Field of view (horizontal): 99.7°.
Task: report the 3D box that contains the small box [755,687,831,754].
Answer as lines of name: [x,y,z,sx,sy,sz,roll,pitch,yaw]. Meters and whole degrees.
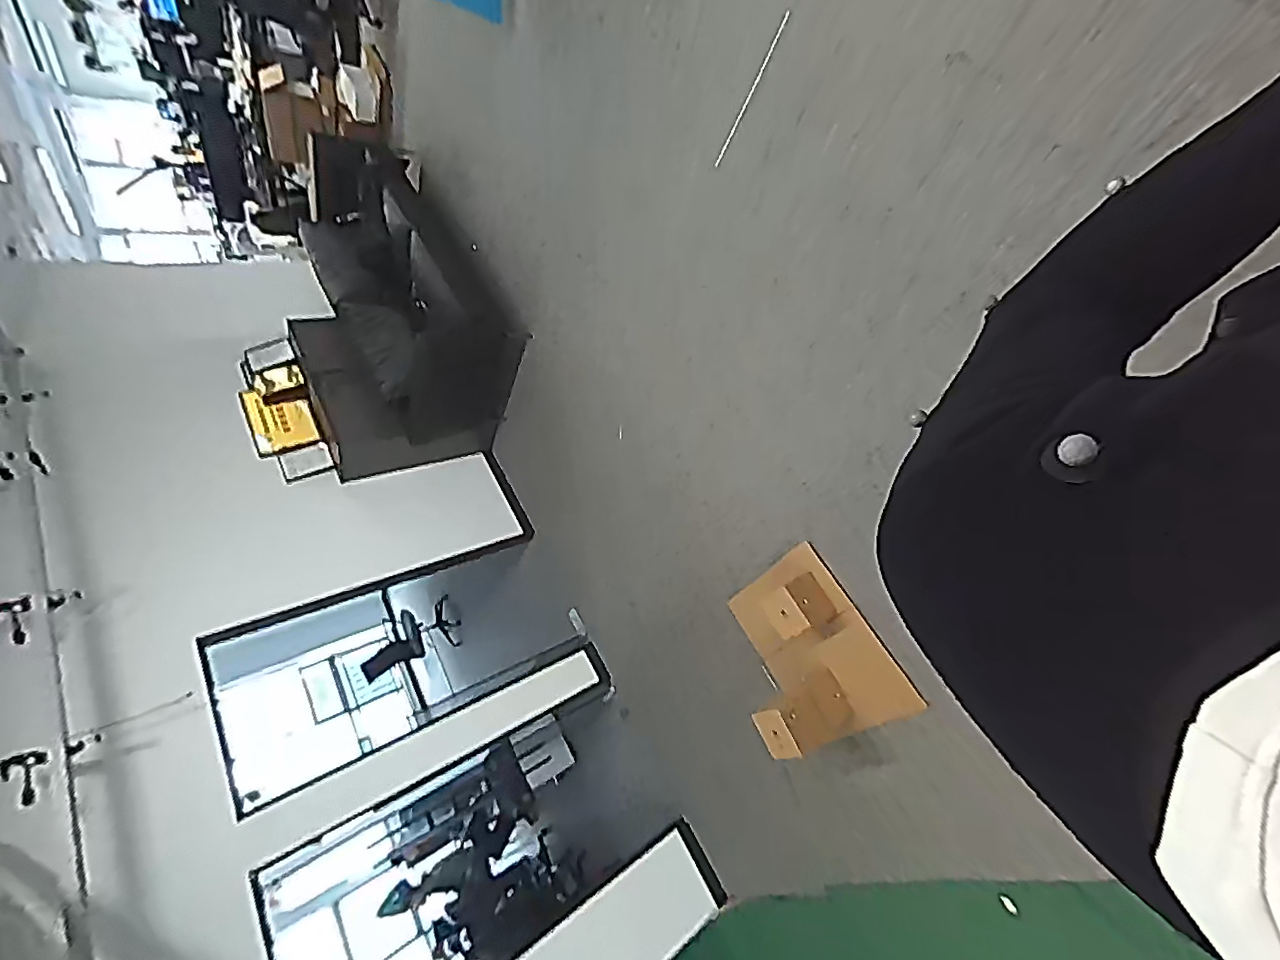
small box: [0.570,0.890,2.015,0.179,0.176,0.168,62,143,14]

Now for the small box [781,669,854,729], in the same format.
small box: [0.697,0.856,2.116,0.168,0.176,0.179,-45,68,51]

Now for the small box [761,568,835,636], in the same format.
small box: [0.610,0.463,2.073,0.179,0.176,0.168,58,141,19]
